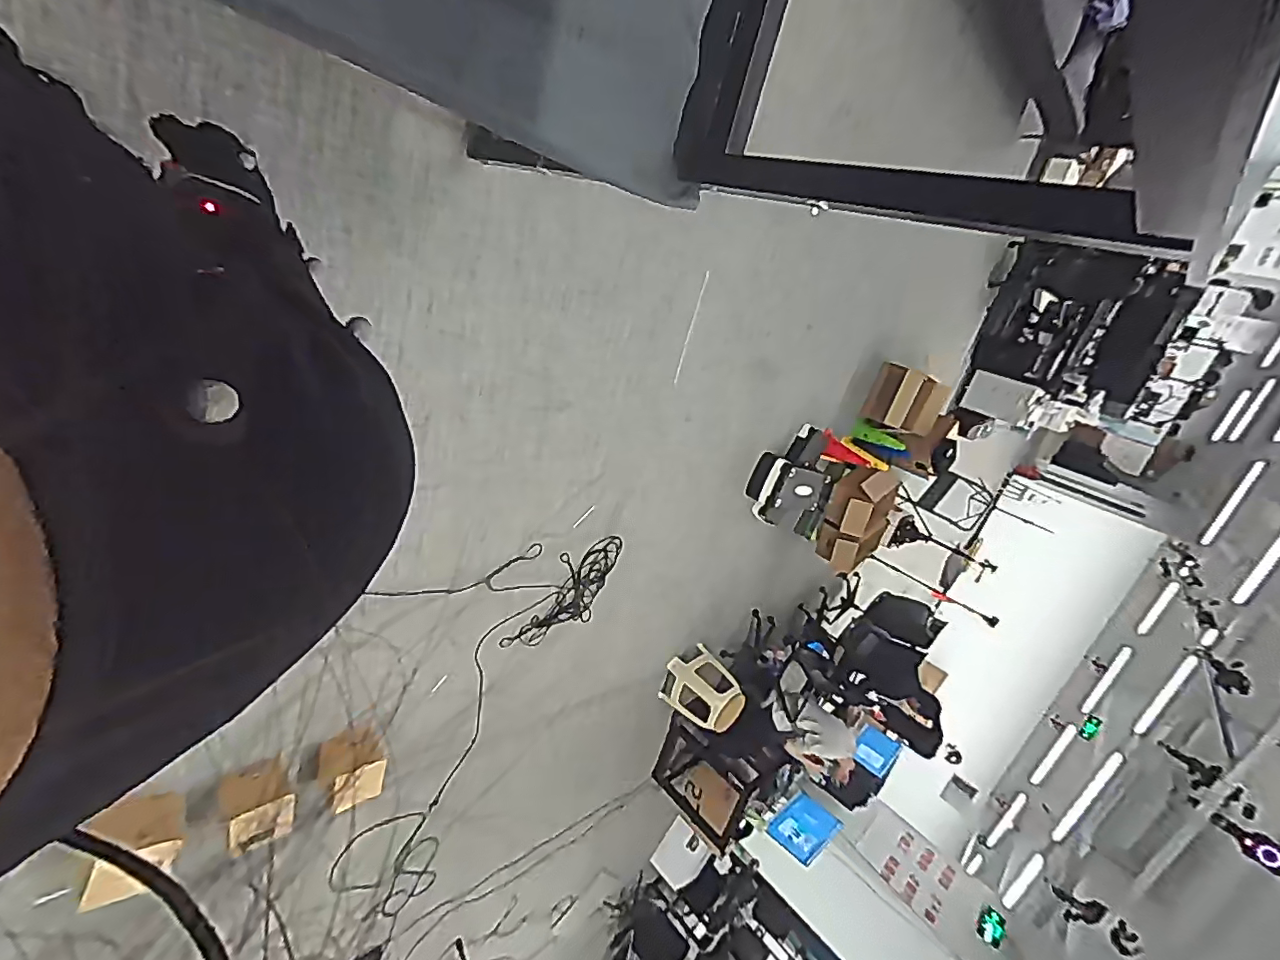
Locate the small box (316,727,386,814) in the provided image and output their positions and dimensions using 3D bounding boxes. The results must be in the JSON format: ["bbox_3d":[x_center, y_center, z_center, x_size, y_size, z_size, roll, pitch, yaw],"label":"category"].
[{"bbox_3d":[-1.022,1.015,1.906,0.168,0.176,0.179,-4,117,-48],"label":"small box"}]

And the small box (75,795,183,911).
[{"bbox_3d":[-1.388,0.998,1.468,0.179,0.176,0.168,17,101,-51],"label":"small box"}]
